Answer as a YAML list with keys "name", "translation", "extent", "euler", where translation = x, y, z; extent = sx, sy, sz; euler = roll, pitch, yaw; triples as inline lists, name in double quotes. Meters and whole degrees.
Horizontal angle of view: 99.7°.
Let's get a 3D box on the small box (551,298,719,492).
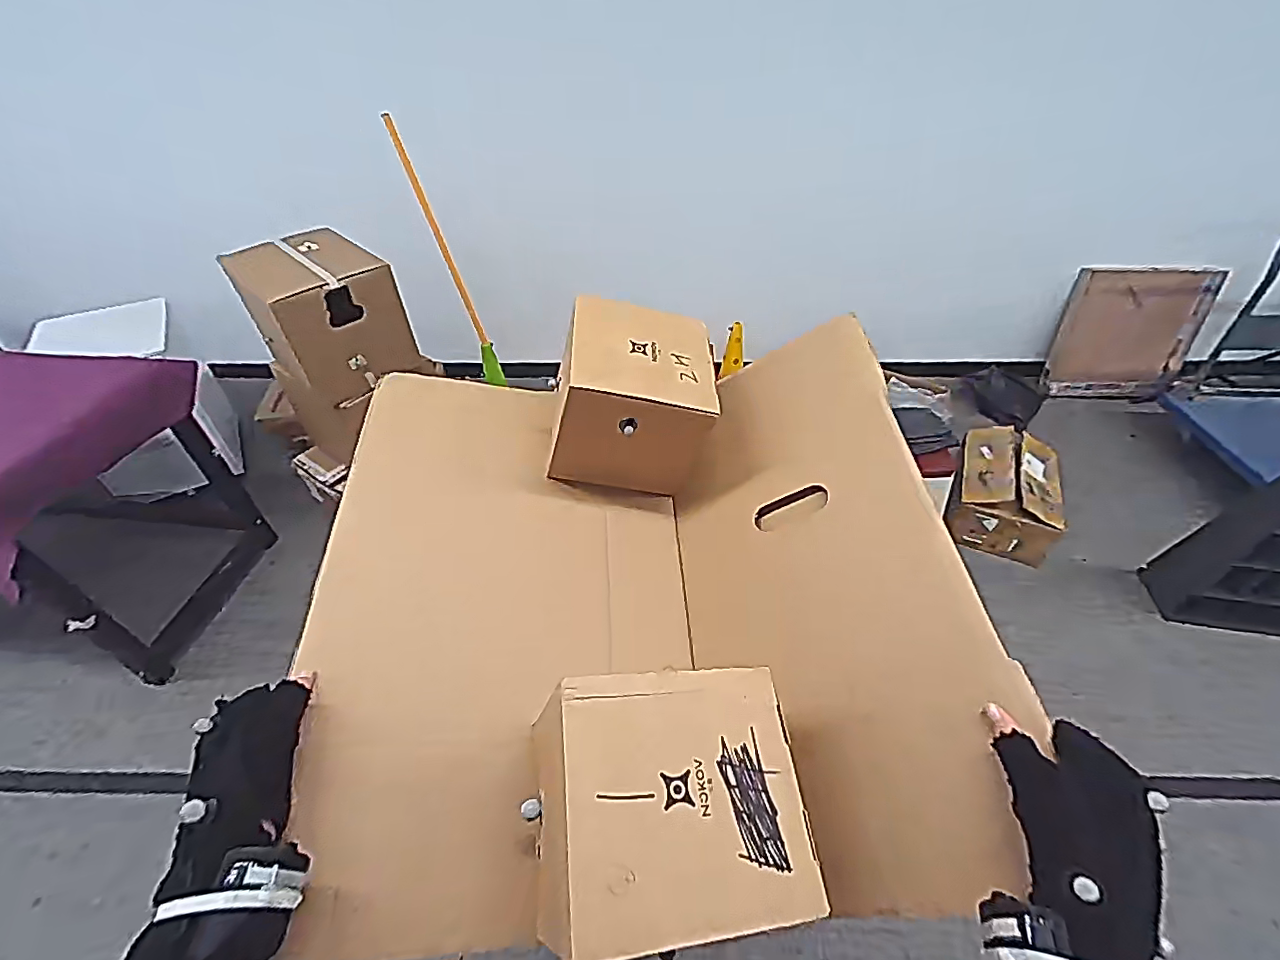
- name: "small box"
  translation: [-0.015, -0.101, 0.703]
  extent: [0.179, 0.176, 0.168]
  euler: [10, 53, -13]
